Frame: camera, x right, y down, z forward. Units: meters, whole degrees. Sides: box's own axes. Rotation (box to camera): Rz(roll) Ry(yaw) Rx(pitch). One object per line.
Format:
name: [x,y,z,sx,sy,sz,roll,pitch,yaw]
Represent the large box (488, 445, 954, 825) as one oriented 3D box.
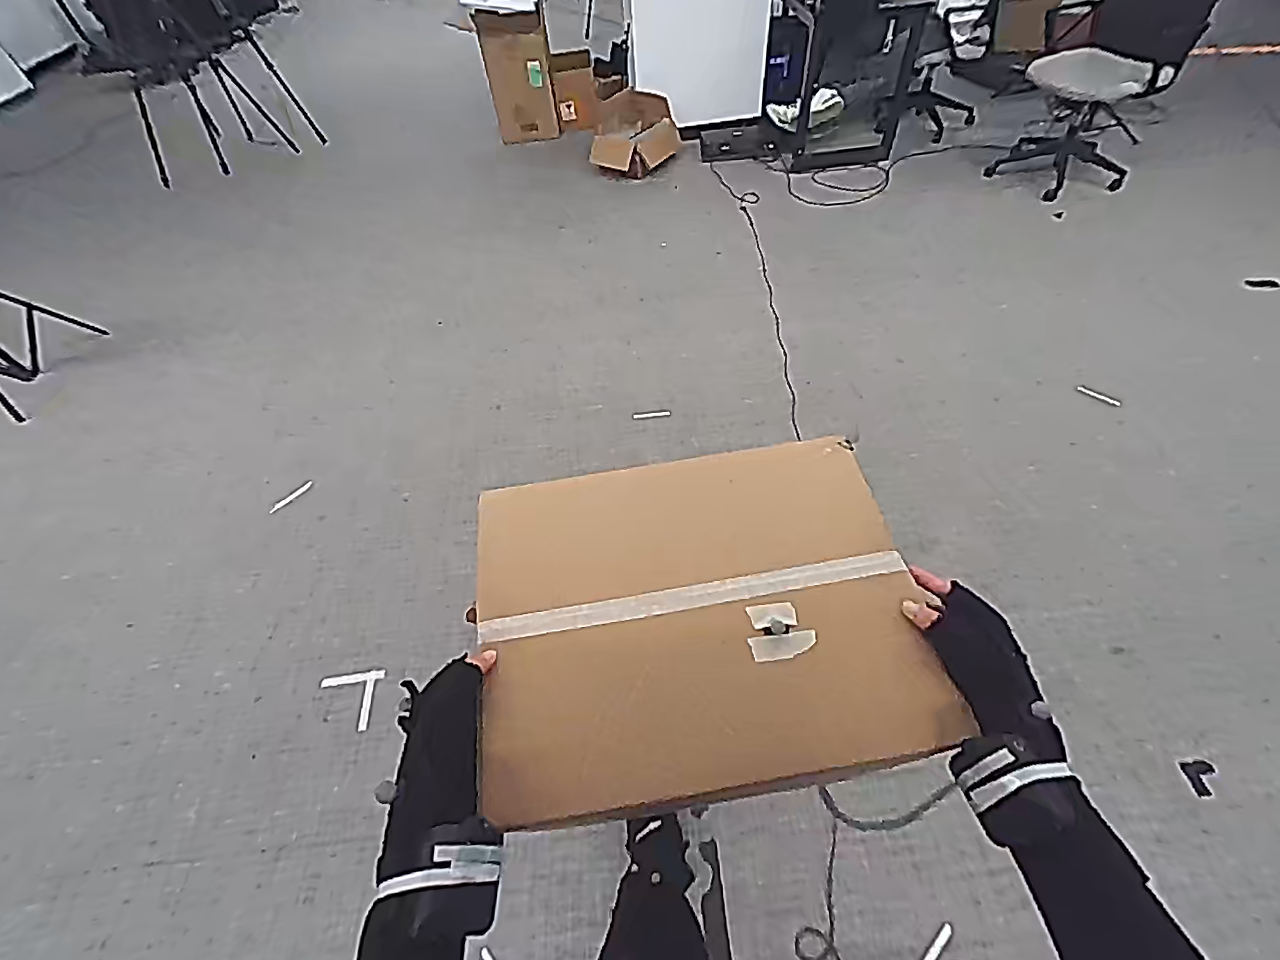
large box: [0.057,0.199,0.654,0.408,0.320,0.320,-9,58,-3]
